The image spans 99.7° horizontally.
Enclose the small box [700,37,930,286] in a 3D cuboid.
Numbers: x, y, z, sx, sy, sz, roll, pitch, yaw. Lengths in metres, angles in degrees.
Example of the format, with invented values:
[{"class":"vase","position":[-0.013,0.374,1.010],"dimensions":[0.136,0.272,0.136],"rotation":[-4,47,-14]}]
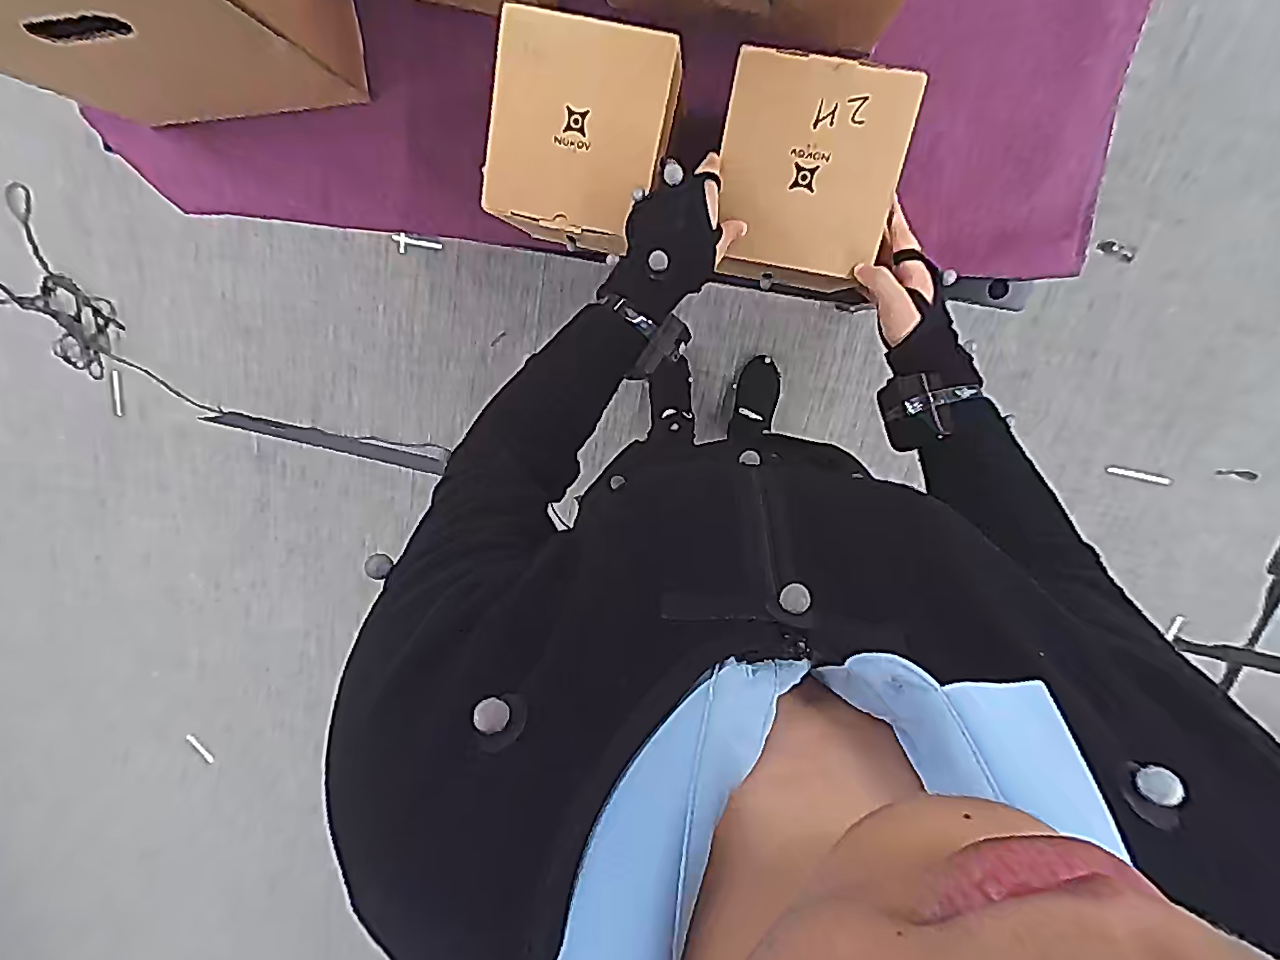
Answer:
[{"class":"small box","position":[0.163,-0.309,0.565],"dimensions":[0.168,0.176,0.179],"rotation":[12,107,4]}]
